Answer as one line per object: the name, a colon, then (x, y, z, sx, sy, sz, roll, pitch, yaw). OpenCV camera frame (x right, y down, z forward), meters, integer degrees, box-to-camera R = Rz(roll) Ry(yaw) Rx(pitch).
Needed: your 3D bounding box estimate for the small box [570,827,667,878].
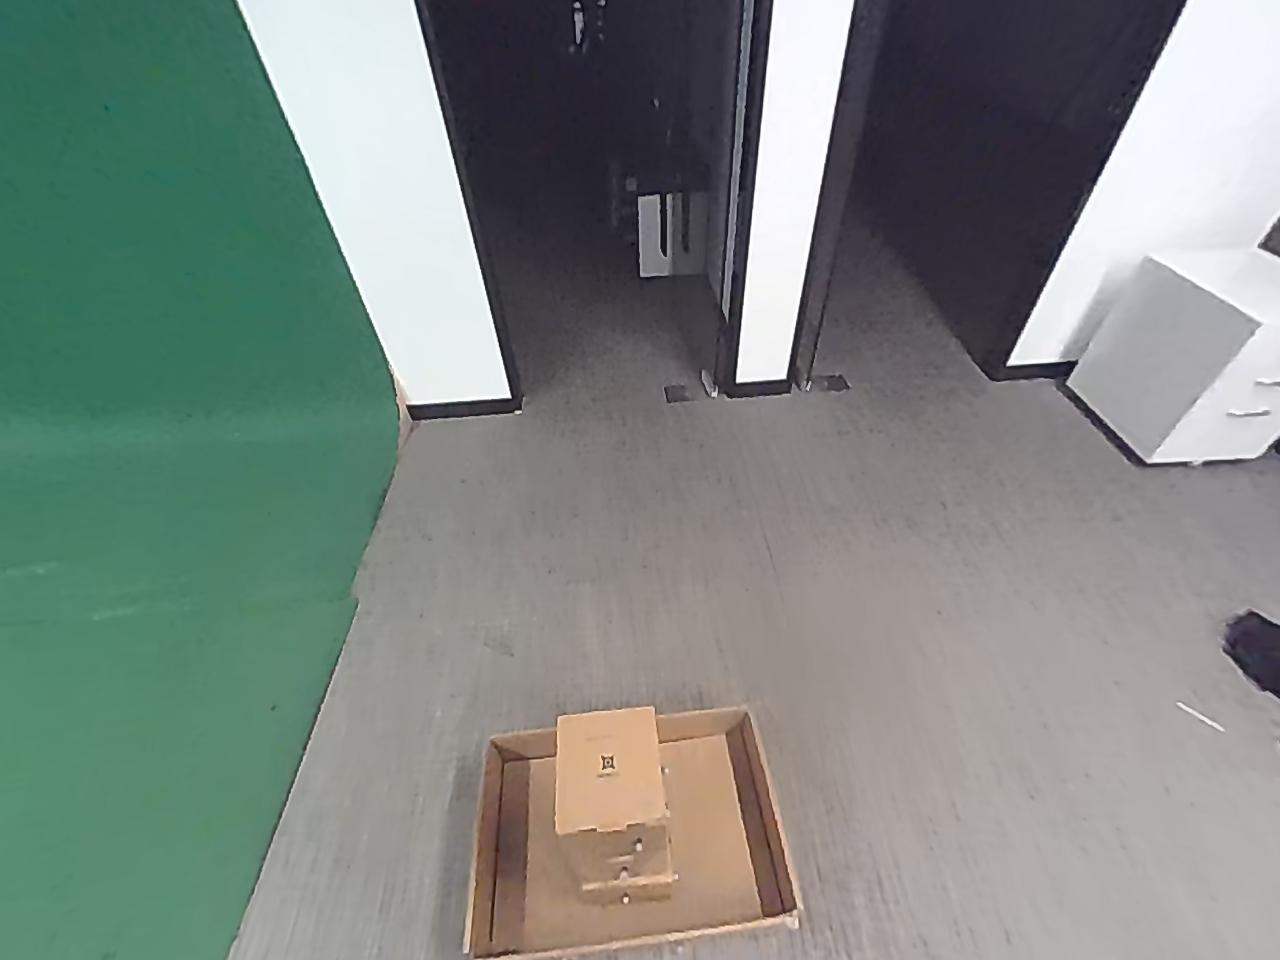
small box: (-0.043, 0.638, 1.037, 0.168, 0.176, 0.179, -8, 43, -3)

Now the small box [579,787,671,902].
small box: (-0.028, 0.765, 1.135, 0.179, 0.176, 0.168, -4, 42, 1)

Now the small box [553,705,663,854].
small box: (-0.051, 0.507, 0.911, 0.168, 0.176, 0.179, -5, 42, -3)
